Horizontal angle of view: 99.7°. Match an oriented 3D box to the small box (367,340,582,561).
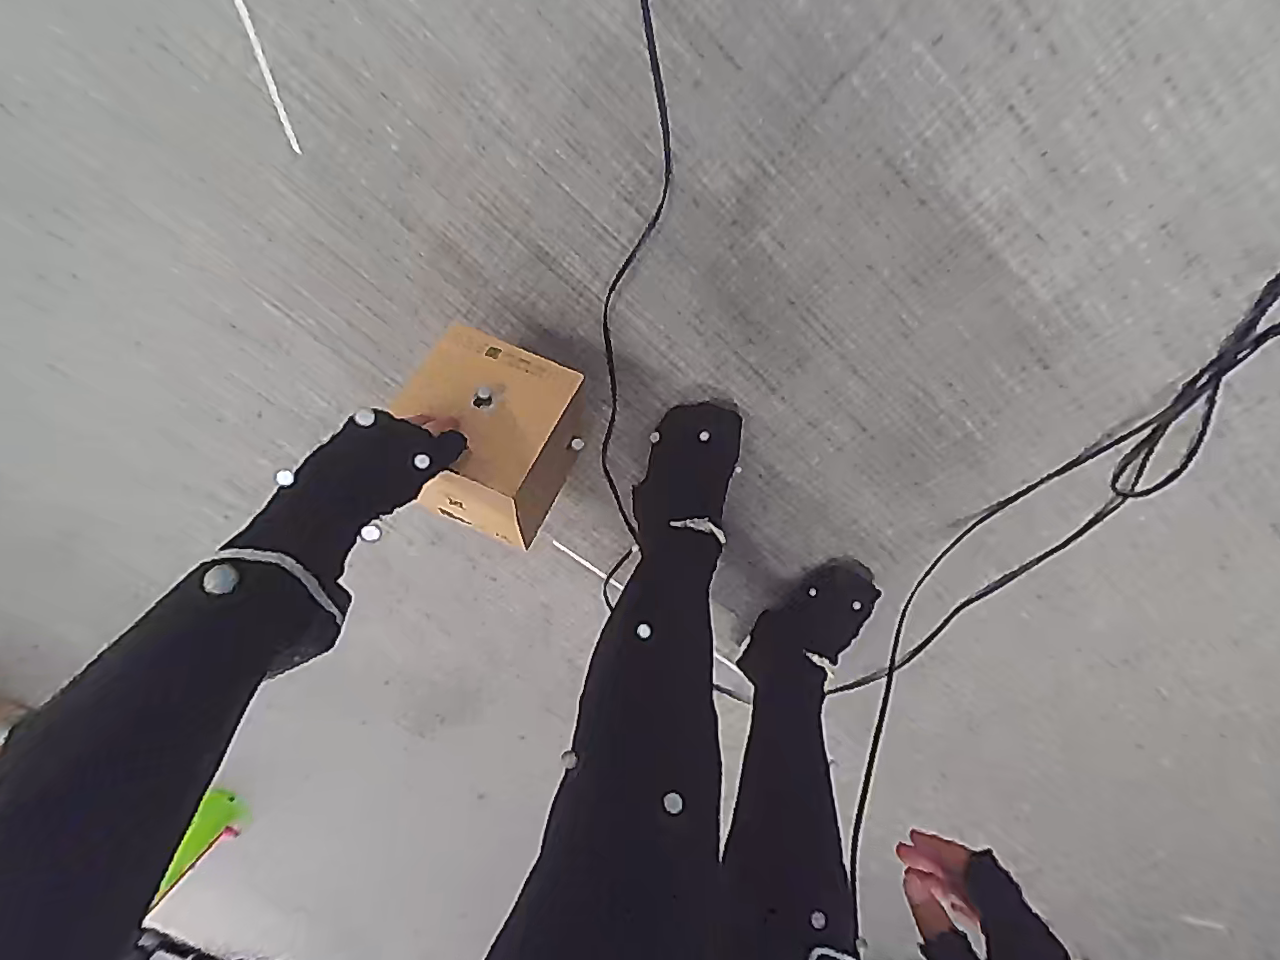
[{"bbox_3d":[-0.176,-0.032,0.636,0.168,0.176,0.179,23,154,4],"label":"small box"}]
